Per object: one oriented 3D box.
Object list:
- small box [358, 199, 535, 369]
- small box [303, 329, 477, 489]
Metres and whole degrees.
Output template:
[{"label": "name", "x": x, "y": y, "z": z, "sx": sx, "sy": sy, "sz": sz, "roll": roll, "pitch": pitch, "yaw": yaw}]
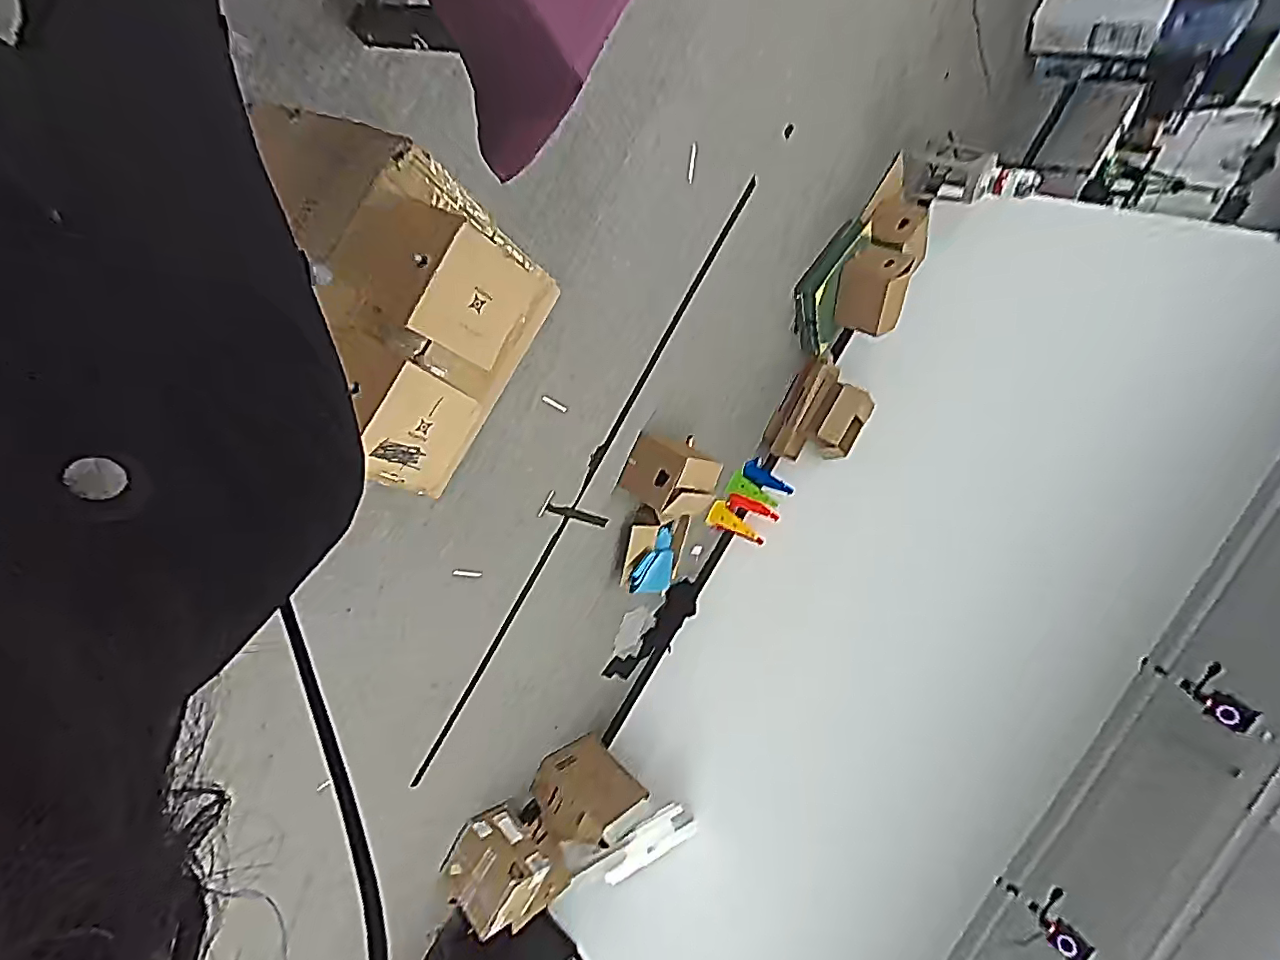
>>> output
[{"label": "small box", "x": -0.309, "y": -0.312, "z": 0.859, "sx": 0.179, "sy": 0.176, "sz": 0.168, "roll": -58, "pitch": 148, "yaw": 3}, {"label": "small box", "x": -0.412, "y": -0.116, "z": 0.883, "sx": 0.179, "sy": 0.176, "sz": 0.168, "roll": -59, "pitch": 149, "yaw": -2}]
